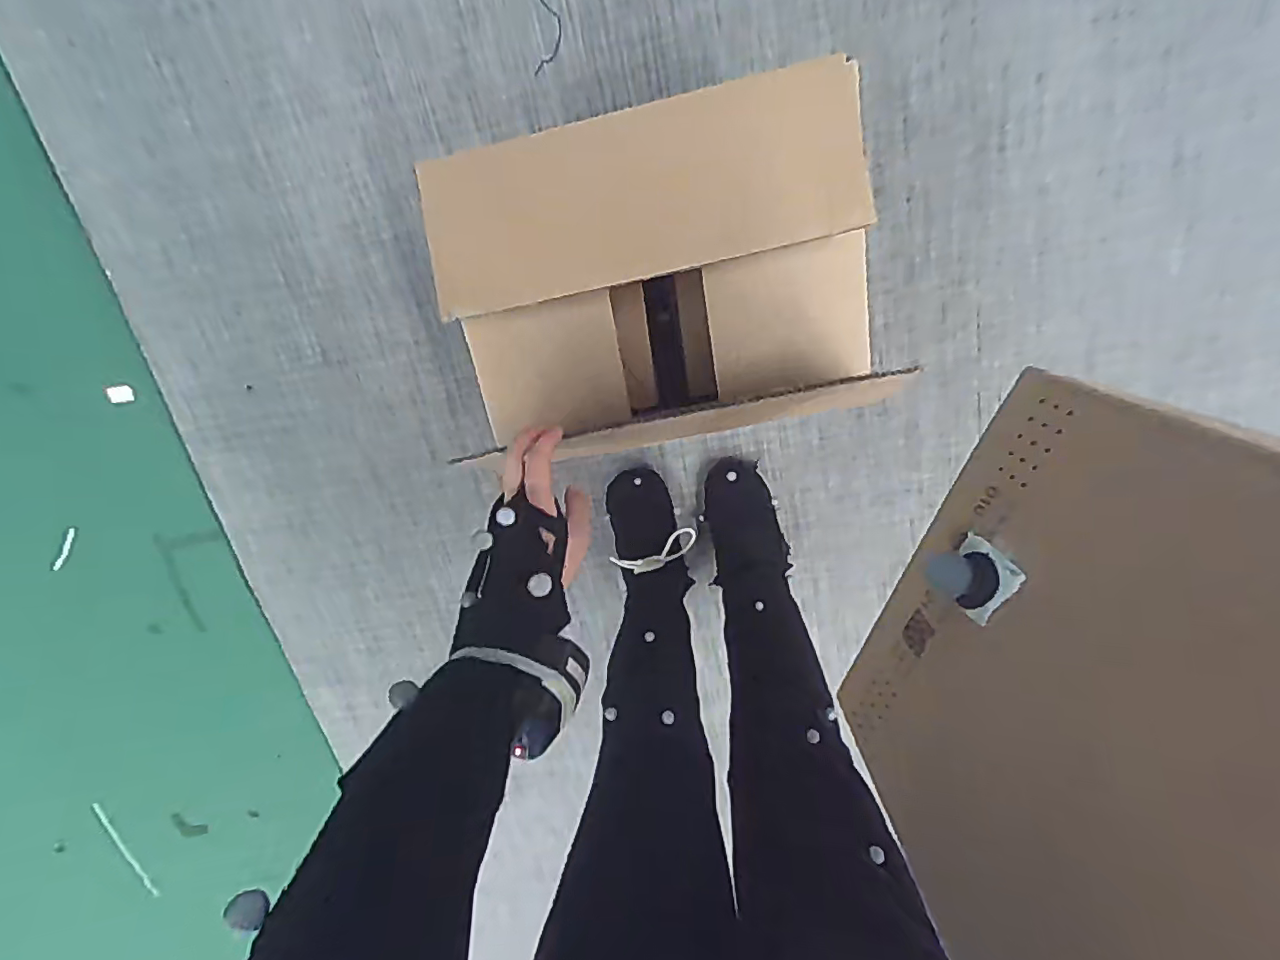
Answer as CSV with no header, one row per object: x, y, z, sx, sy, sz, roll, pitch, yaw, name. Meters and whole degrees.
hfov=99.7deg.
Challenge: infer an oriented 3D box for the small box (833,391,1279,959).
0.192,0.083,0.167,0.179,0.176,0.168,13,112,-5,small box
